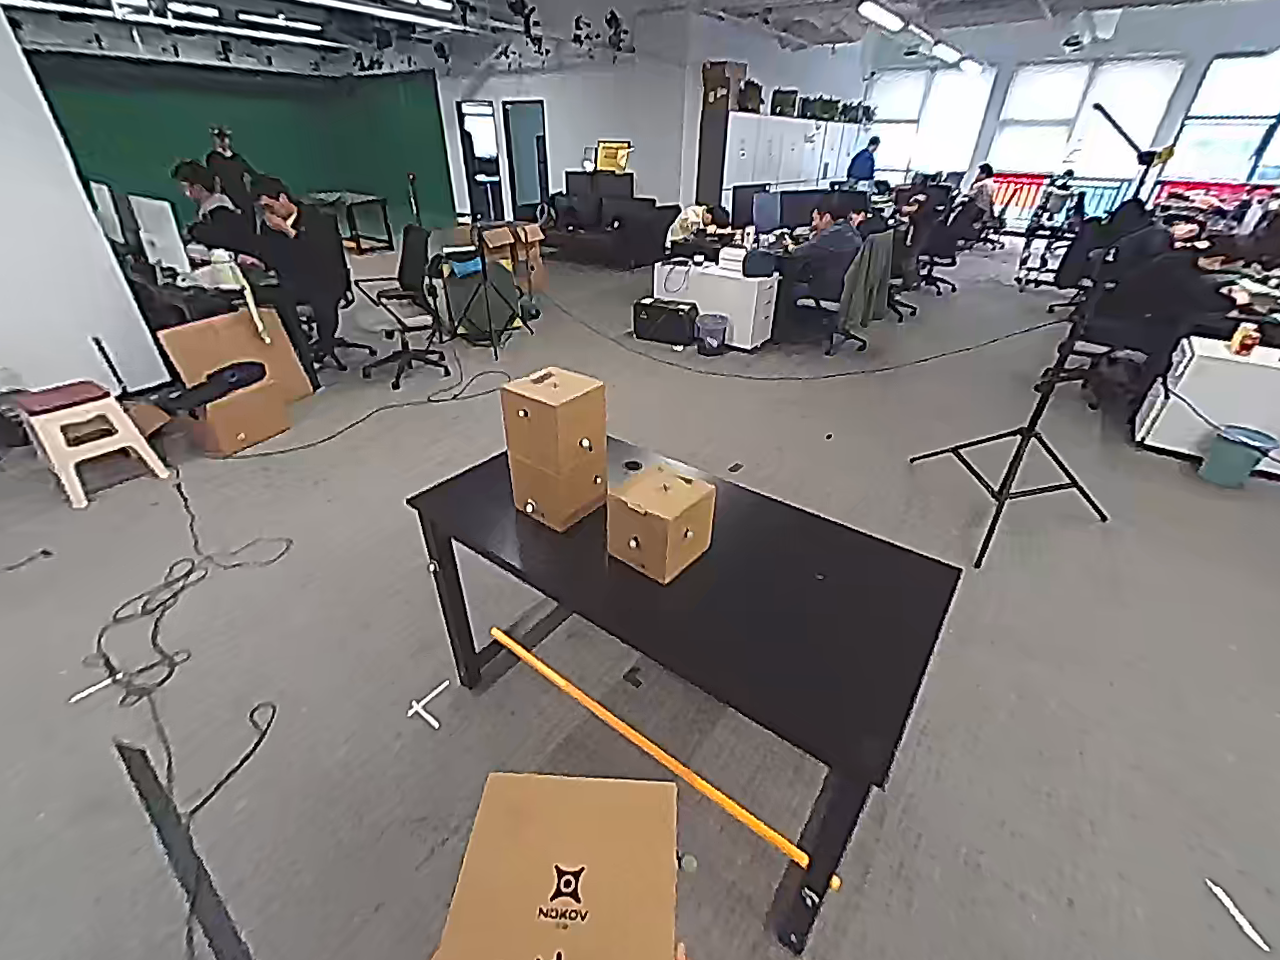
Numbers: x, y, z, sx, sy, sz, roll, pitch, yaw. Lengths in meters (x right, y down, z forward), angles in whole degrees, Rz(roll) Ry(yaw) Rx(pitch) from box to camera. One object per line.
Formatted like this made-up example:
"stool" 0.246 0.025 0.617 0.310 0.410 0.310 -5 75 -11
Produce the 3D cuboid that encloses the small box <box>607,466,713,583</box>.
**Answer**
"small box" 0.045 0.098 1.202 0.168 0.176 0.179 24 39 32

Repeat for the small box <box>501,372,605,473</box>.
"small box" -0.197 -0.134 1.260 0.179 0.176 0.168 21 37 29

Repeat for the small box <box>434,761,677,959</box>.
"small box" -0.055 0.368 0.452 0.168 0.176 0.179 1 35 4

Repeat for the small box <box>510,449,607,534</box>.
"small box" -0.198 0.005 1.347 0.168 0.176 0.179 21 38 31
